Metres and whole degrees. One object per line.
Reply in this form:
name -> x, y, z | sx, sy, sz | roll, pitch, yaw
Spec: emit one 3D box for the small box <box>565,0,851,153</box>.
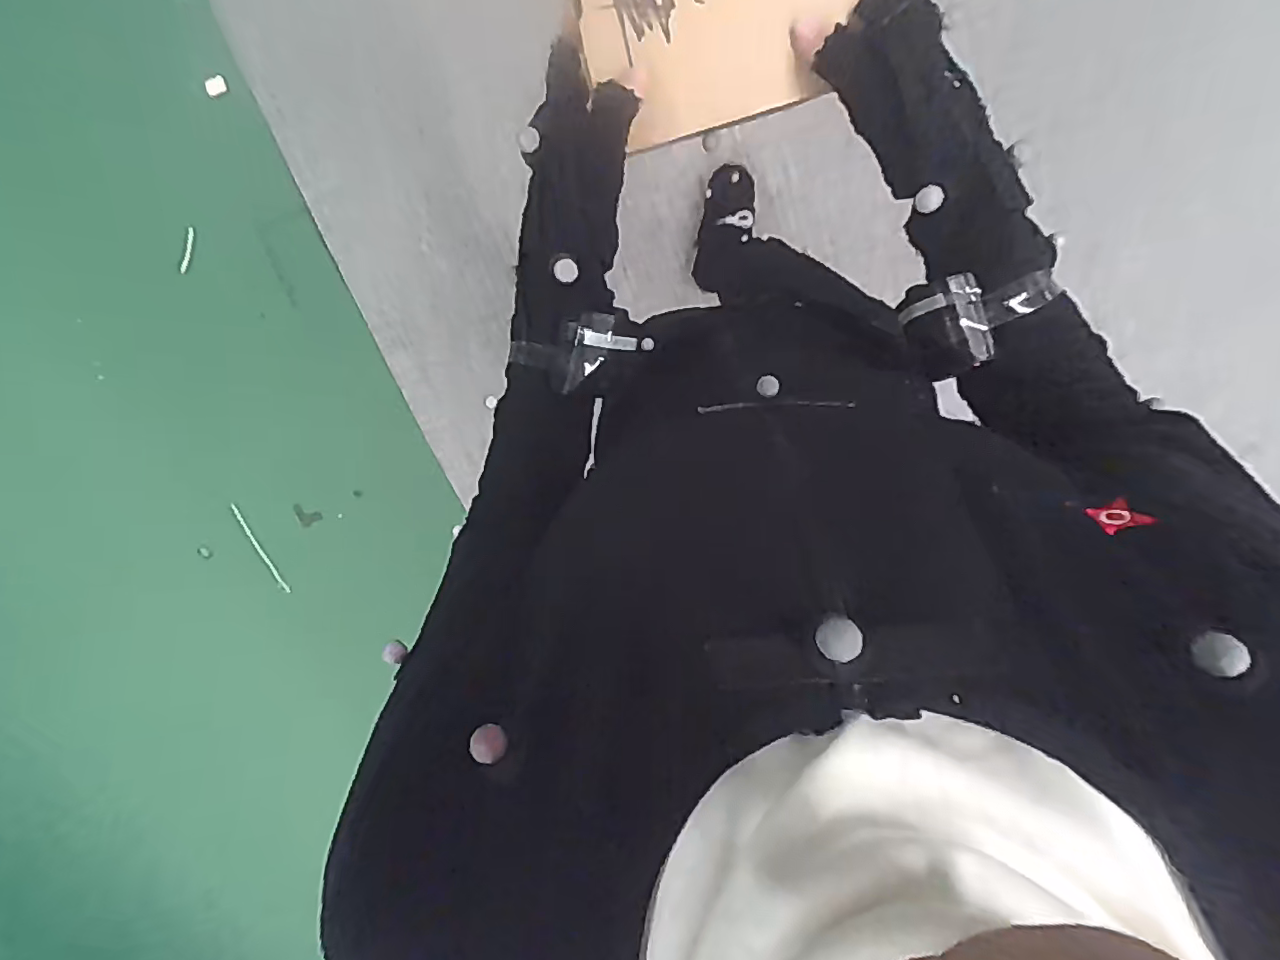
small box -> 0.038, -0.358, 0.402 | 0.179, 0.176, 0.168 | -13, 119, 7
